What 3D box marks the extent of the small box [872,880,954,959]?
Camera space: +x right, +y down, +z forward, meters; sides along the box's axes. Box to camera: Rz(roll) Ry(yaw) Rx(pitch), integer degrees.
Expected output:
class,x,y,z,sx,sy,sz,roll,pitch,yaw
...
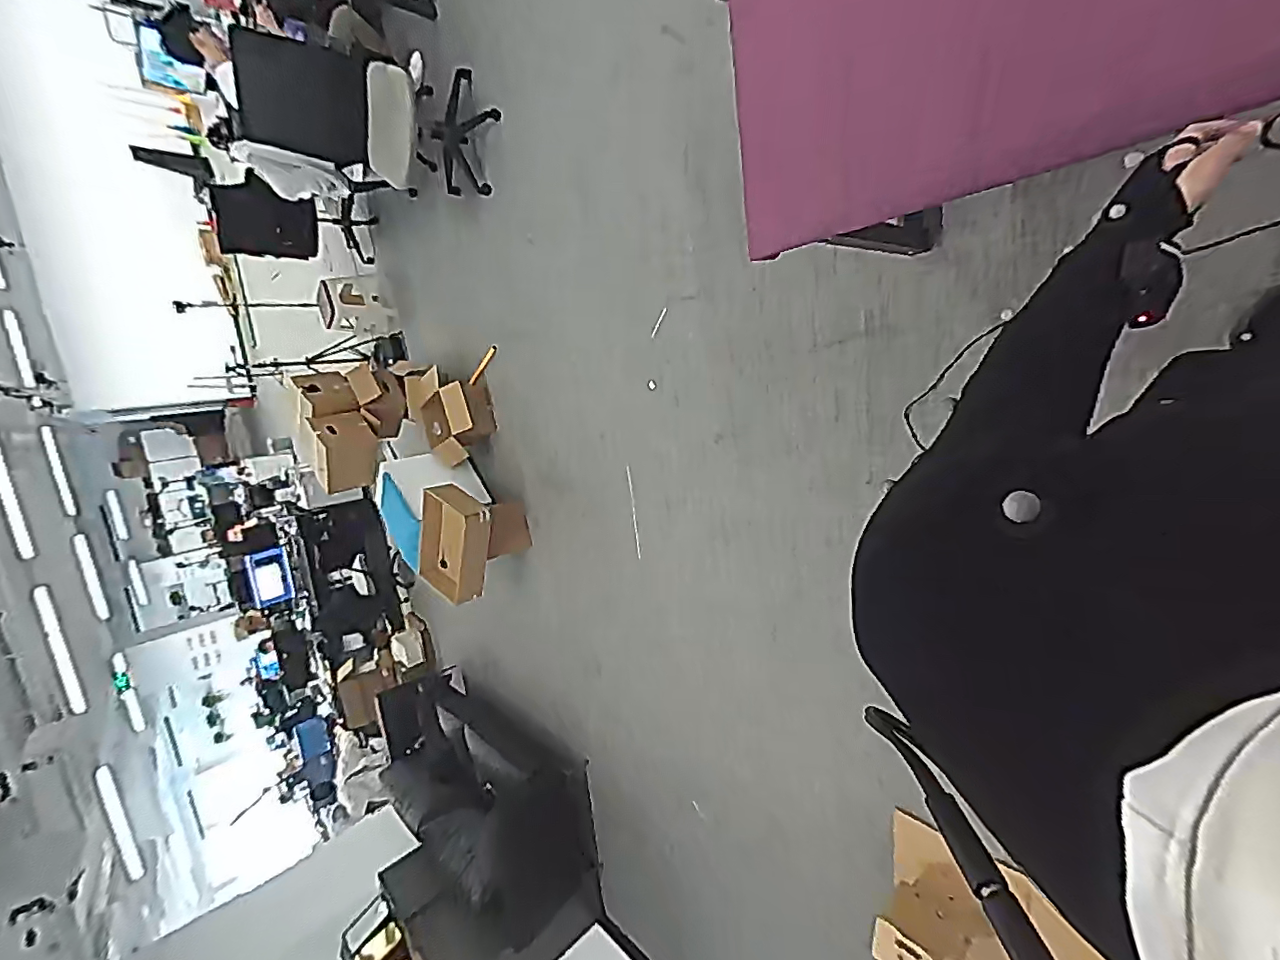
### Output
class,x,y,z,sx,sy,sz,roll,pitch,yaw
small box,0.838,1.390,1.656,0.168,0.176,0.179,19,117,45

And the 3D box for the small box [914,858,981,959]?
class,x,y,z,sx,sy,sz,roll,pitch,yaw
small box,0.982,1.385,1.746,0.168,0.176,0.179,13,113,46
